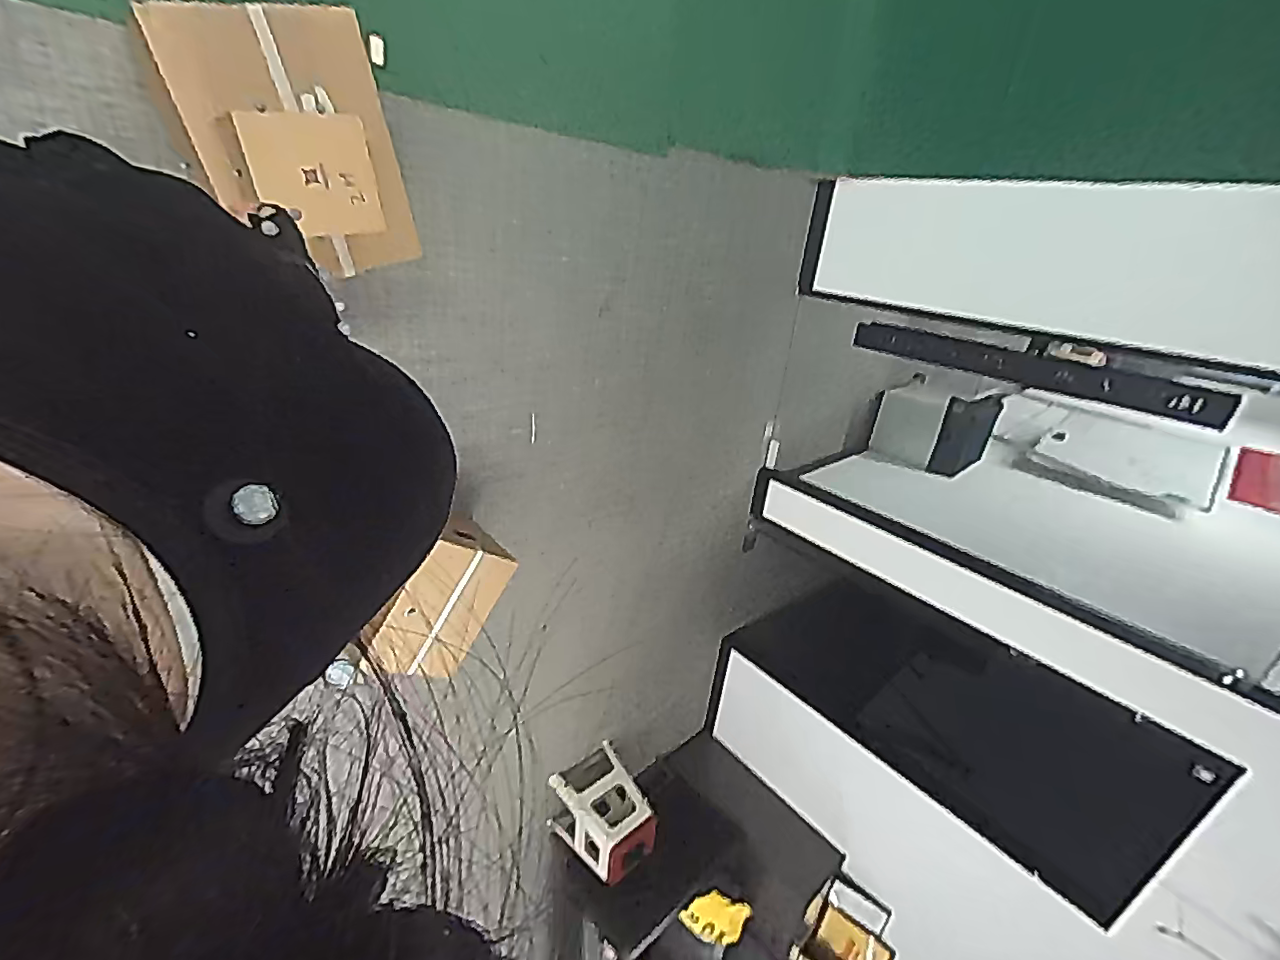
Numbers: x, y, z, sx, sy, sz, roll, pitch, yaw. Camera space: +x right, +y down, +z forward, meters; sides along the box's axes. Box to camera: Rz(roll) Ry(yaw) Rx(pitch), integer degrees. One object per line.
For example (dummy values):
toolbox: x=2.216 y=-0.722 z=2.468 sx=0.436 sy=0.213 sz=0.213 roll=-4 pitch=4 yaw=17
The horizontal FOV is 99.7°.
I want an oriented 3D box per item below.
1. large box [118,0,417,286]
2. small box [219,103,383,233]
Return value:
large box: x=-0.689 y=-0.627 z=1.033 sx=0.320 sy=0.320 sz=0.408 roll=-30 pitch=130 yaw=-32
small box: x=-0.547 y=-0.499 z=0.872 sx=0.179 sy=0.176 sz=0.168 roll=-24 pitch=129 yaw=-35
